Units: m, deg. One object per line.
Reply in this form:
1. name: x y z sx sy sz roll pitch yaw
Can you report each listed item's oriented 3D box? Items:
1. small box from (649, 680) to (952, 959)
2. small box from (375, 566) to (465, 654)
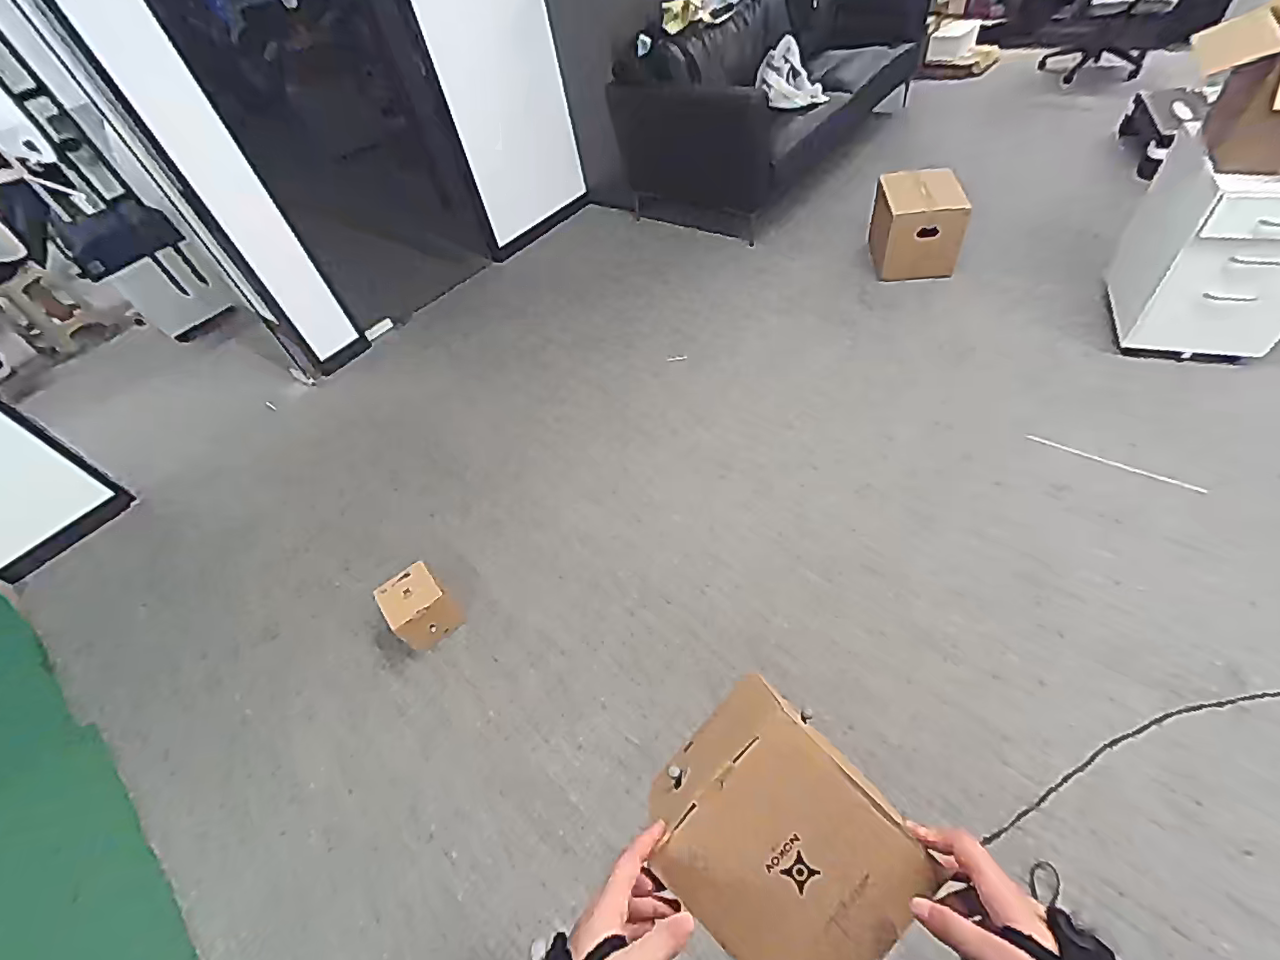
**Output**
1. small box: 0.127 0.309 0.498 0.179 0.176 0.168 43 86 8
2. small box: -0.664 0.405 1.649 0.168 0.176 0.179 -36 53 -19
